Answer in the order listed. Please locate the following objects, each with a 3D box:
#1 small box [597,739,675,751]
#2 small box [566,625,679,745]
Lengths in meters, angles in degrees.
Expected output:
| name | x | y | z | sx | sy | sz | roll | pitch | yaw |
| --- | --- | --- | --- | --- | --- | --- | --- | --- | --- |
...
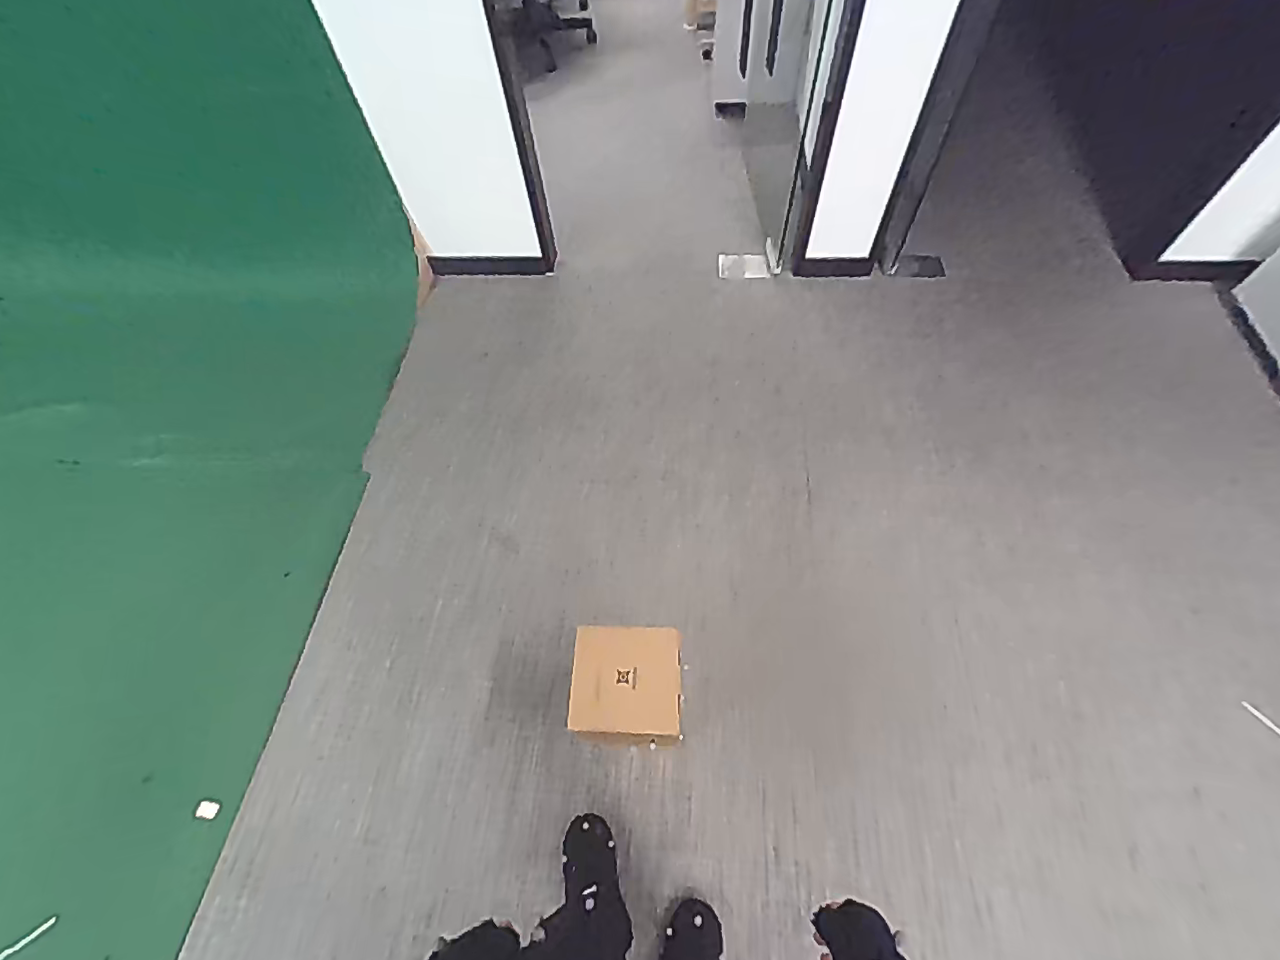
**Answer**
| name | x | y | z | sx | sy | sz | roll | pitch | yaw |
| --- | --- | --- | --- | --- | --- | --- | --- | --- | --- |
| small box | -0.006 | 0.513 | 1.225 | 0.179 | 0.176 | 0.168 | 2 | 59 | 5 |
| small box | -0.020 | 0.359 | 0.938 | 0.179 | 0.176 | 0.168 | 0 | 58 | 5 |
